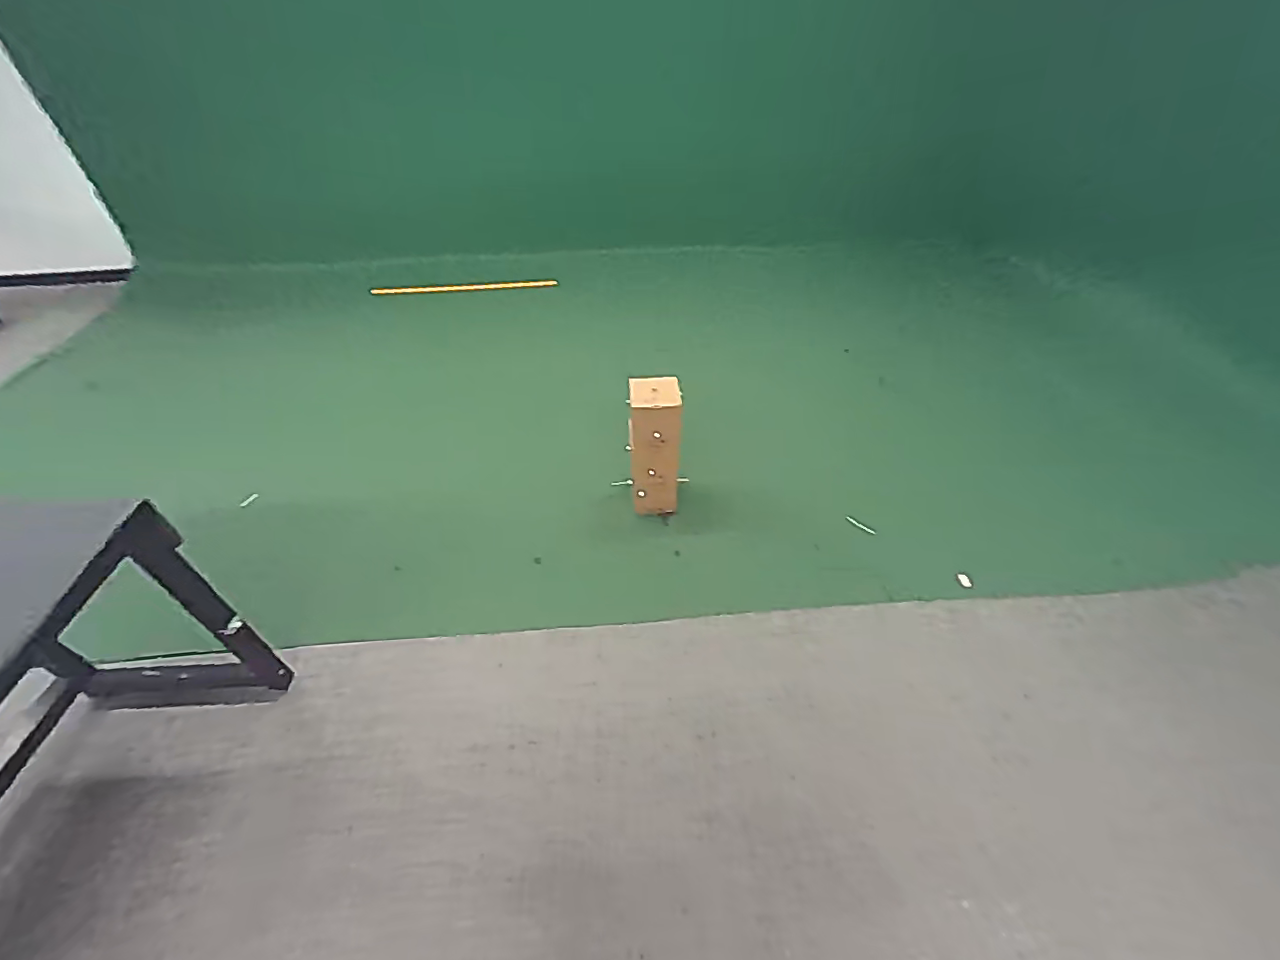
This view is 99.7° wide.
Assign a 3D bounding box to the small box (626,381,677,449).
[{"bbox_3d":[0.035,-0.224,1.863,0.168,0.176,0.179,-2,42,-2],"label":"small box"}]

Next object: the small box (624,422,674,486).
[{"bbox_3d":[0.028,-0.098,1.970,0.168,0.176,0.179,-3,42,-4],"label":"small box"}]
